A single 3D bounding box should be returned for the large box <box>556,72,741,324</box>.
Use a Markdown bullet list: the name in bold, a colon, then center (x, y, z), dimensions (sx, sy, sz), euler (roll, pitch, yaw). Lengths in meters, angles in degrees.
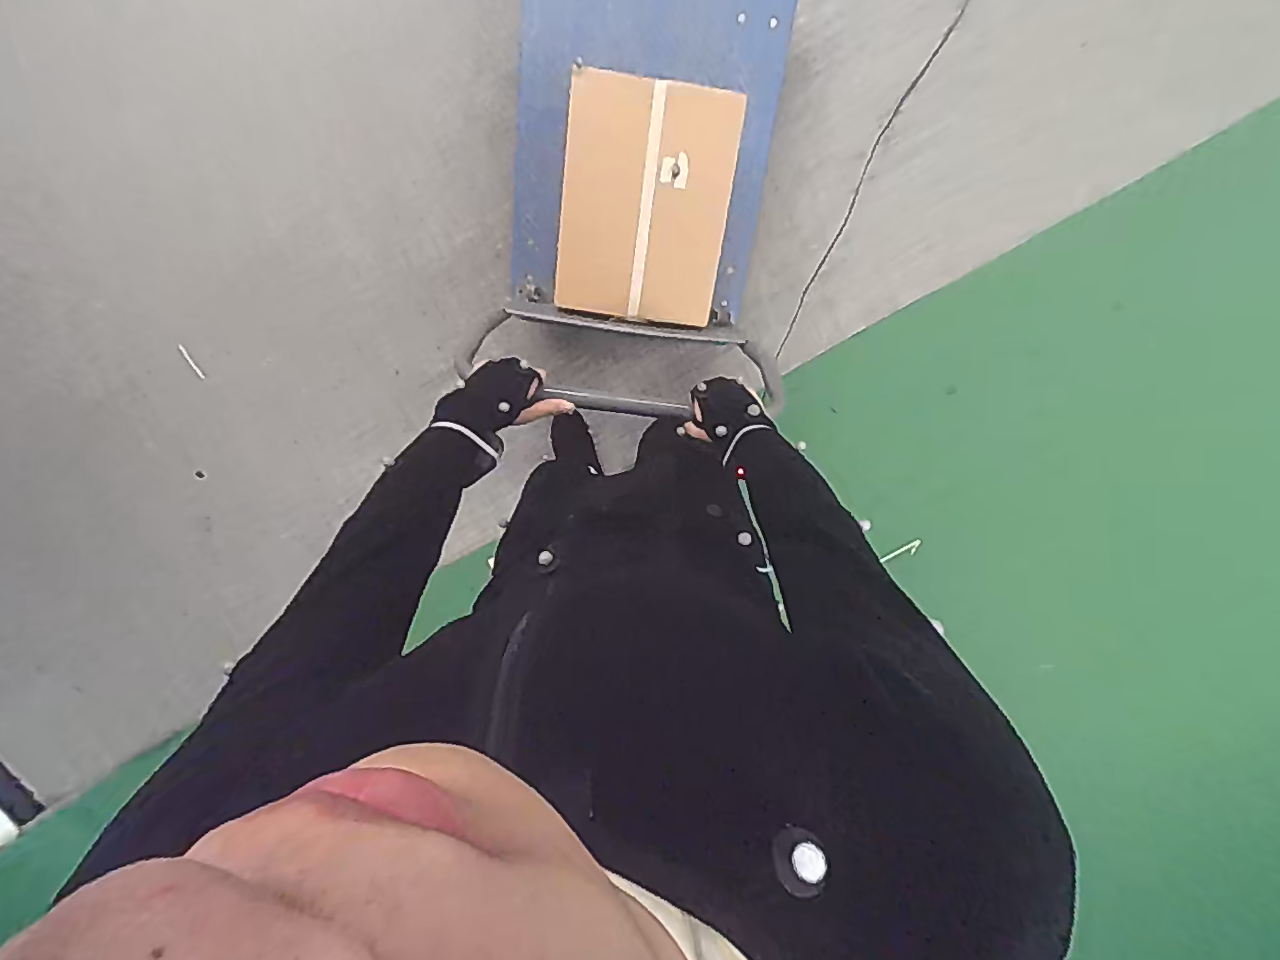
- **large box**: center (0.007, -0.570, 1.173), dimensions (0.320, 0.320, 0.408), euler (7, 110, -4)
